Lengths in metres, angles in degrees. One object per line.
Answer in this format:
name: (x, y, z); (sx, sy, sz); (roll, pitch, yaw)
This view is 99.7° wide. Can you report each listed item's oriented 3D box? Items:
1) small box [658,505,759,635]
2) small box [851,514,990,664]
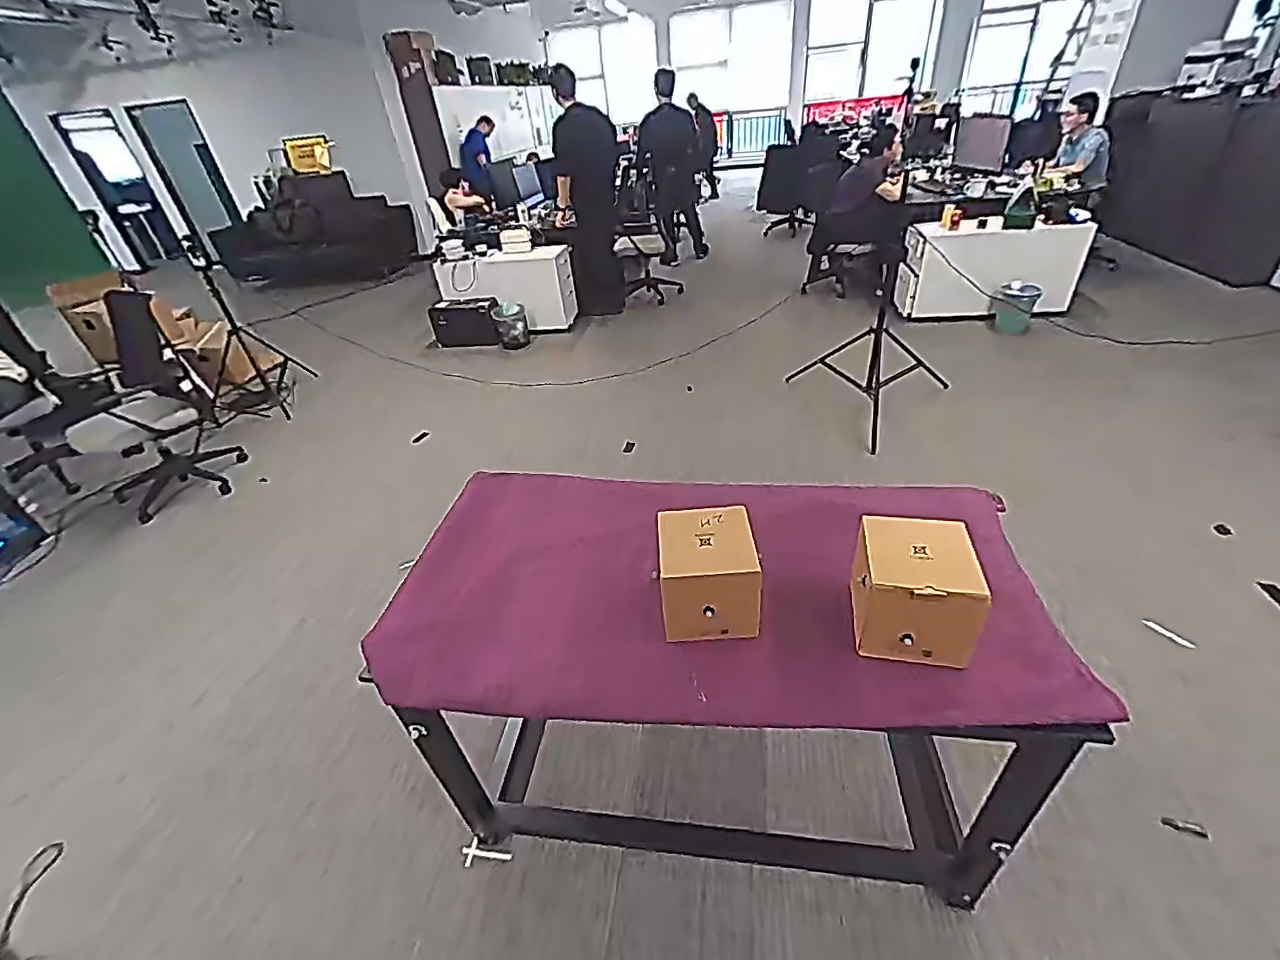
small box: (0.122, 0.169, 0.993); (0.168, 0.176, 0.179); (-4, 35, 3)
small box: (0.460, 0.180, 0.919); (0.168, 0.176, 0.179); (3, 35, 14)
